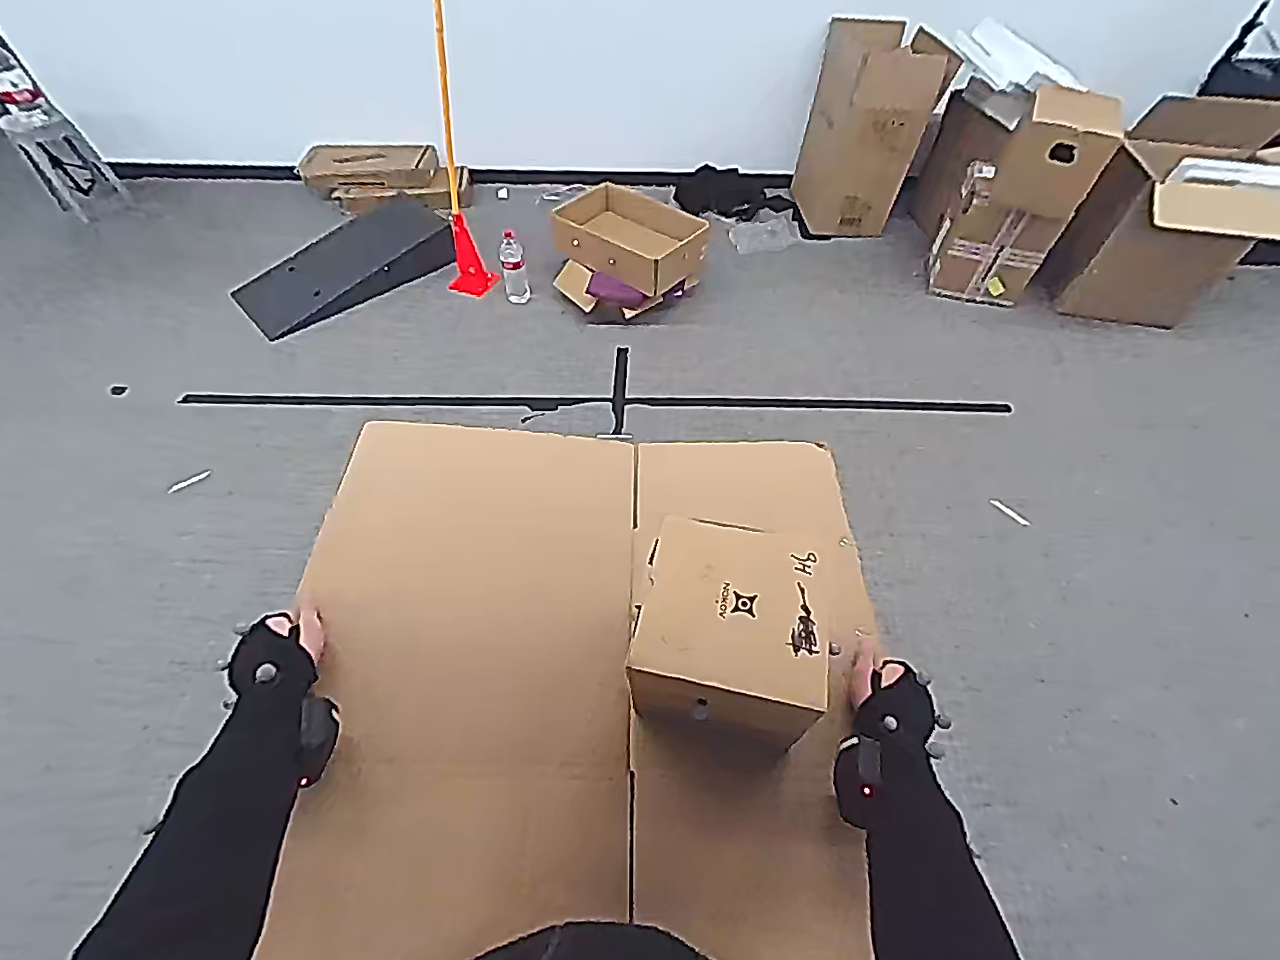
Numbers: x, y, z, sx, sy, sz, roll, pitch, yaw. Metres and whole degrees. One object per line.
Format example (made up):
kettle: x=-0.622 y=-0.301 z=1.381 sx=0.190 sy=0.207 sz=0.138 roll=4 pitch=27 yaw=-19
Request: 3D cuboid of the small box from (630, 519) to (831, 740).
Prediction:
small box: x=0.098 y=0.165 z=0.584 sx=0.179 sy=0.176 sz=0.168 roll=8 pitch=55 yaw=10
